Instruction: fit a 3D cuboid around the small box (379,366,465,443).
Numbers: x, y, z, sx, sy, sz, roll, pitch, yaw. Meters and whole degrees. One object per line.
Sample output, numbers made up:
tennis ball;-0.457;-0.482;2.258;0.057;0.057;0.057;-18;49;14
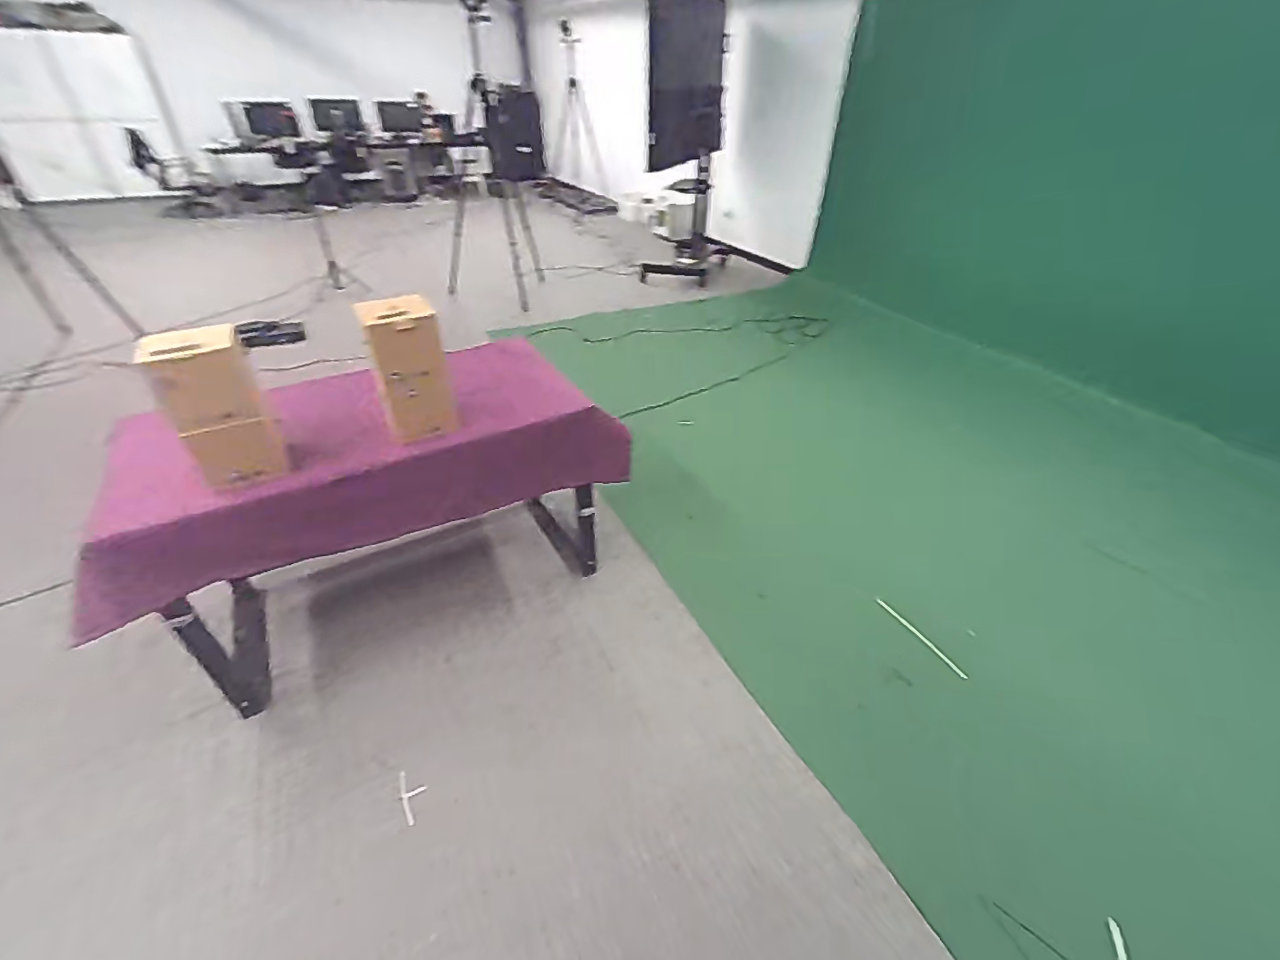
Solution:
small box;-0.601;-0.225;1.497;0.168;0.176;0.179;-20;41;-24

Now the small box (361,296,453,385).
small box;-0.599;-0.358;1.400;0.168;0.176;0.179;-19;41;-25

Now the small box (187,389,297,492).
small box;-0.962;-0.098;1.321;0.168;0.176;0.179;-19;42;-23
